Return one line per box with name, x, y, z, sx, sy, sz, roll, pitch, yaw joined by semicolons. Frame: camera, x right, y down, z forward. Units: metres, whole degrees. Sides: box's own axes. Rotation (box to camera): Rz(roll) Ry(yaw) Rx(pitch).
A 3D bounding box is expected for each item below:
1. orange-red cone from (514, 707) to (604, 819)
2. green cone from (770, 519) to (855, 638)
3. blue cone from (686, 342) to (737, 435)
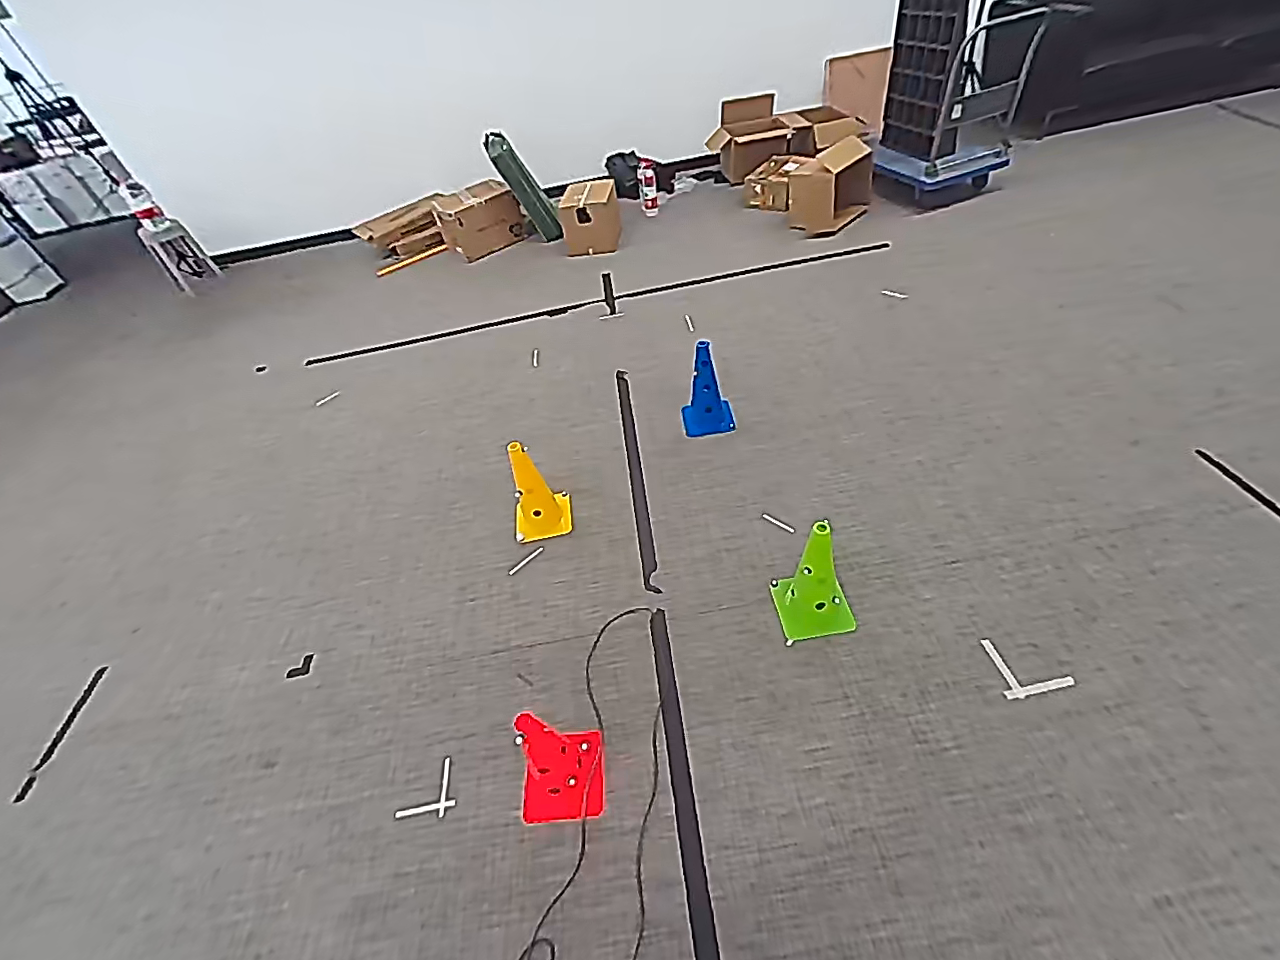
orange-red cone;-0.217;0.610;1.231;0.199;0.360;0.198;-8;44;5
green cone;0.475;0.240;1.448;0.202;0.368;0.200;-9;45;1
blue cone;0.269;-0.368;2.107;0.192;0.380;0.193;-7;45;4
